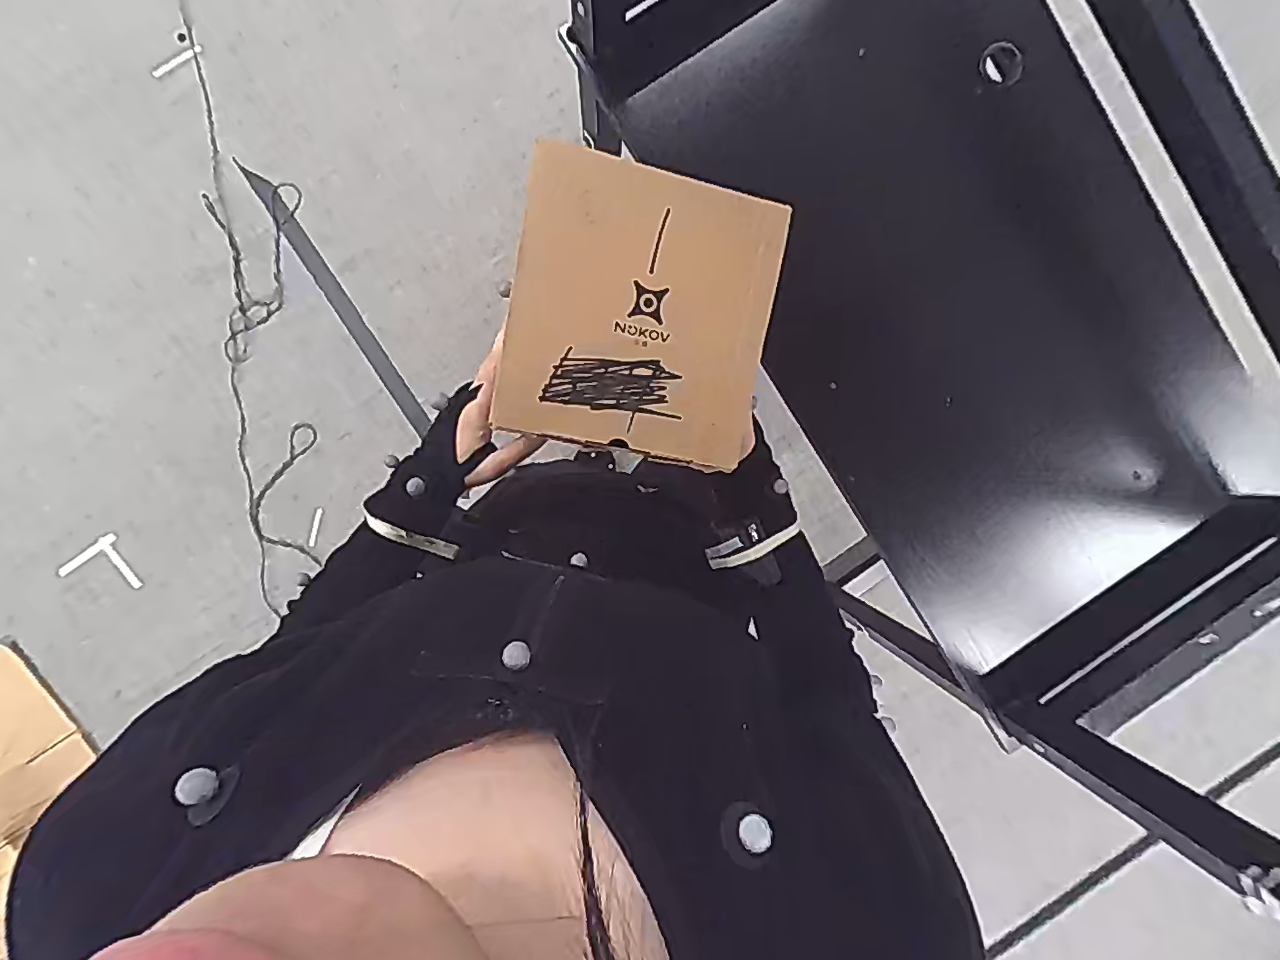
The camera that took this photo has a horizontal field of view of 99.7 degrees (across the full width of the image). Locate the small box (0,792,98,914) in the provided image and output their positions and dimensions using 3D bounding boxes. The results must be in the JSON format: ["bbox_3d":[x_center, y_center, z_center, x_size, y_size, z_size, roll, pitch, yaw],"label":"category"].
[{"bbox_3d":[-1.527,0.929,1.348,0.179,0.176,0.168,-36,94,0],"label":"small box"}]
